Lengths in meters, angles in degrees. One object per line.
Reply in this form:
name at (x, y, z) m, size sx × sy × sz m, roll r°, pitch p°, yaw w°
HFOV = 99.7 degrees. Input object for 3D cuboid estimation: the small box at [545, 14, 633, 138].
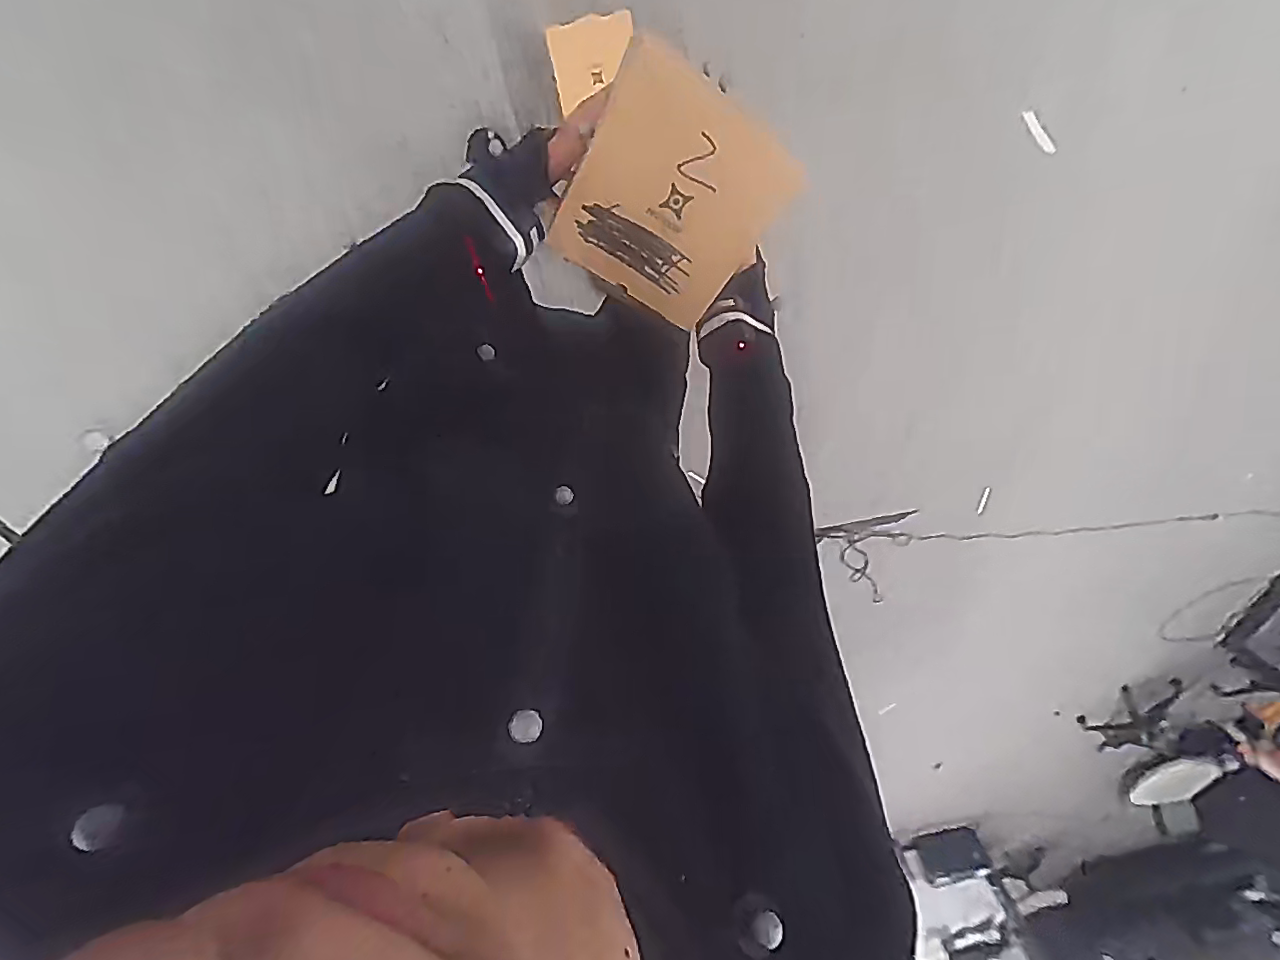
small box at (-0.093, -0.835, 1.122) m, size 0.168 × 0.176 × 0.179 m, roll -12°, pitch 128°, yaw 0°

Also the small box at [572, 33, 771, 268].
small box at (0.028, -0.400, 0.654) m, size 0.168 × 0.176 × 0.179 m, roll 20°, pitch 128°, yaw -18°
